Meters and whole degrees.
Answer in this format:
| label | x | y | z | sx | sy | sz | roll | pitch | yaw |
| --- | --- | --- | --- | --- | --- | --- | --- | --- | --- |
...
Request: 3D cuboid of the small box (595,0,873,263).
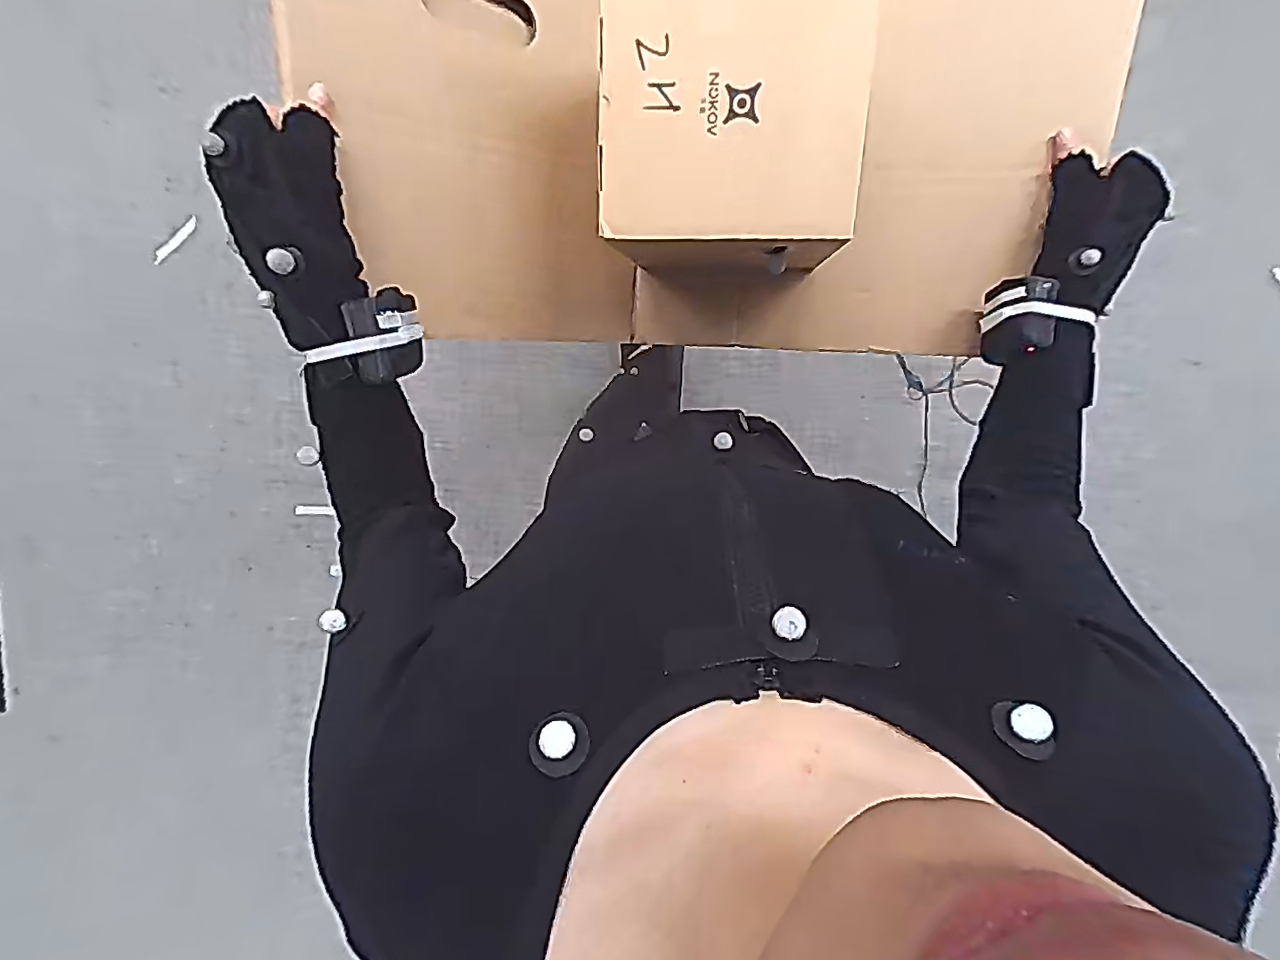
| label | x | y | z | sx | sy | sz | roll | pitch | yaw |
| --- | --- | --- | --- | --- | --- | --- | --- | --- | --- |
| small box | 0.069 | -0.275 | 0.437 | 0.179 | 0.176 | 0.168 | 5 | 106 | 9 |
